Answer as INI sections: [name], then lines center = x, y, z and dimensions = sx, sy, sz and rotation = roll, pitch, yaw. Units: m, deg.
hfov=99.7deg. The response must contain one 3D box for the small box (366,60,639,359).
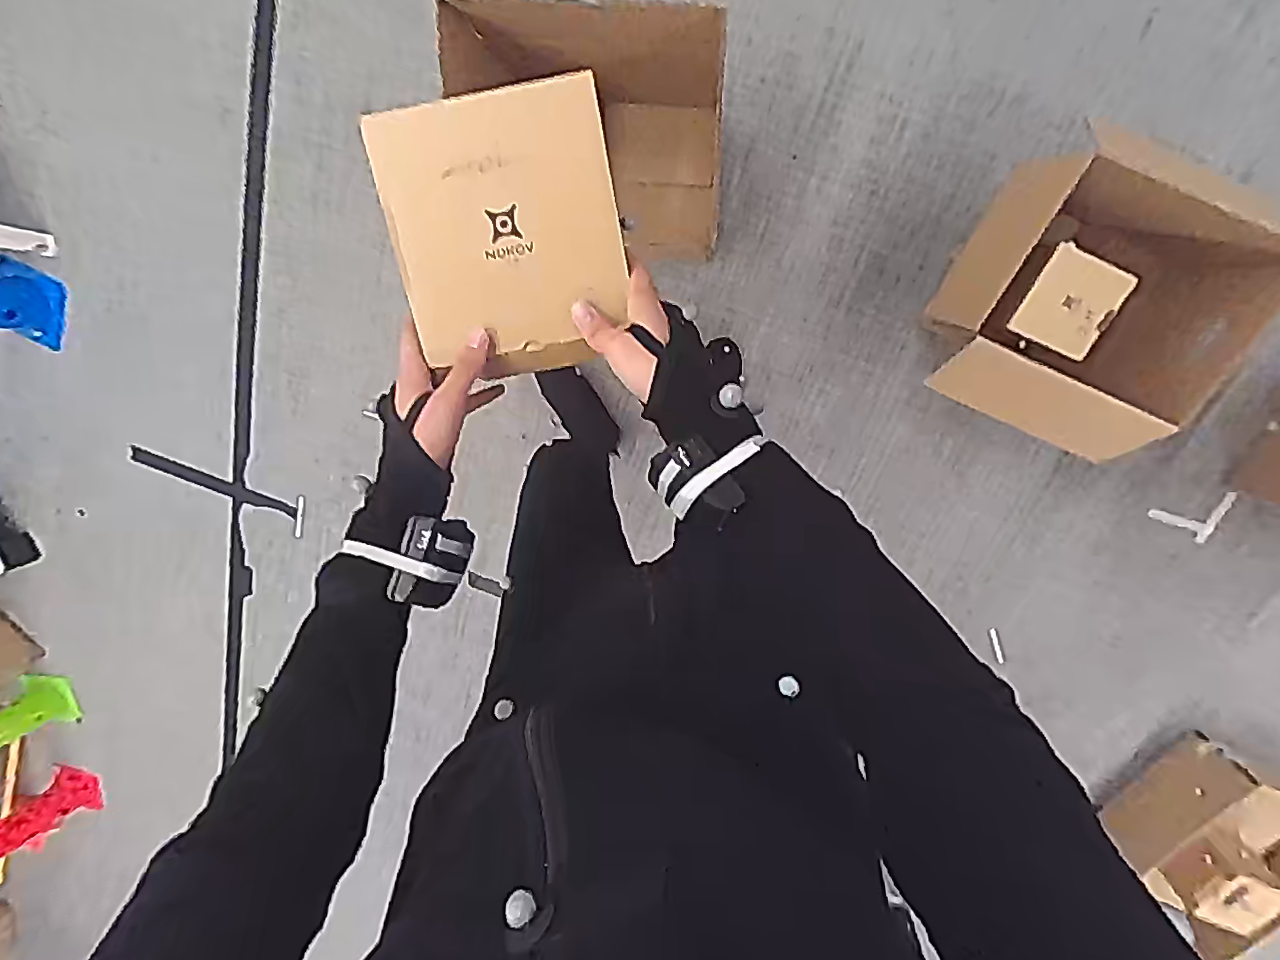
[small box]
center = -0.095, -0.209, 0.465
dimensions = 0.168, 0.176, 0.179
rotation = -10, 105, 1
